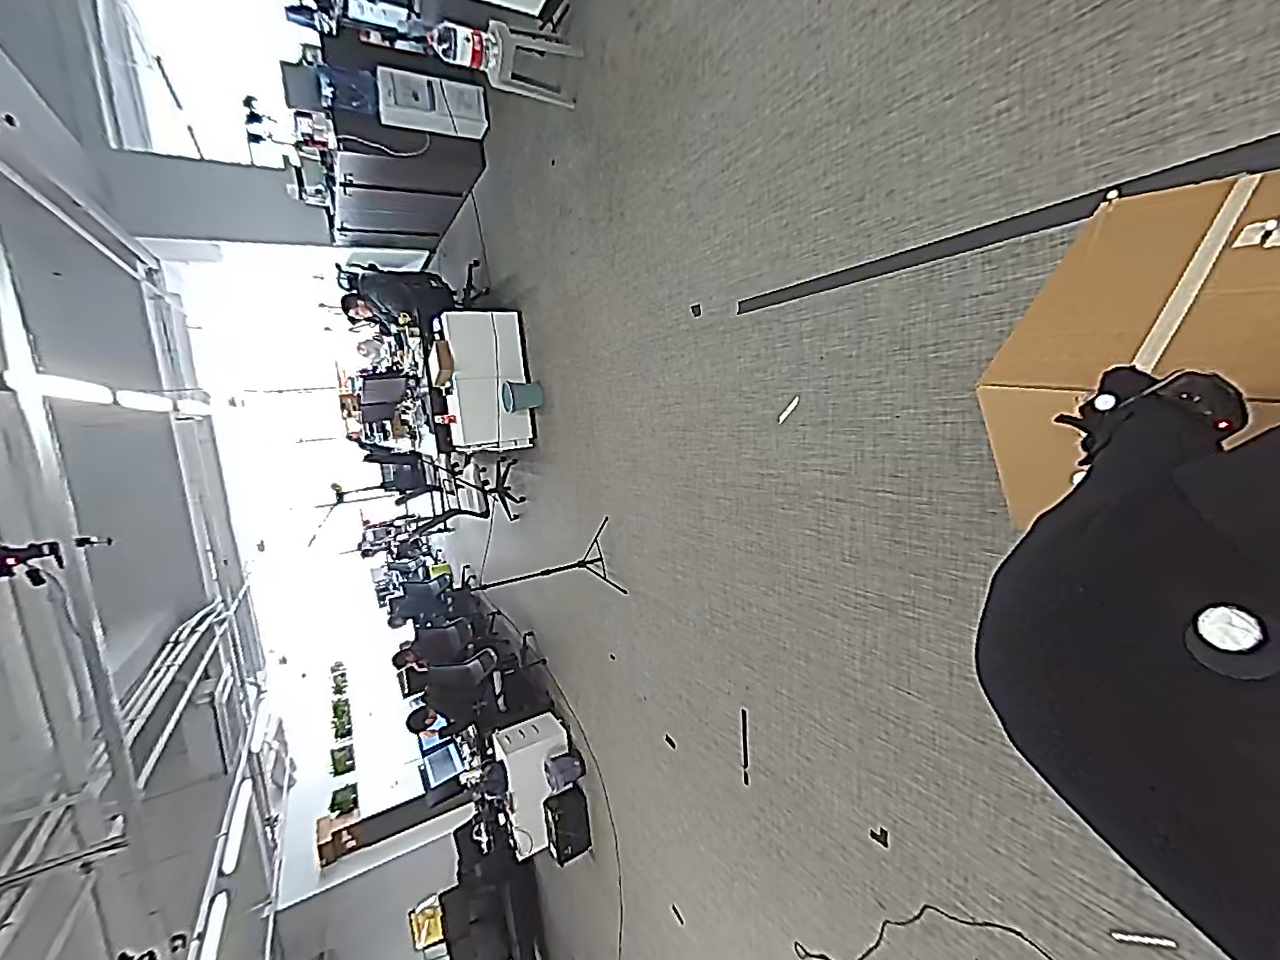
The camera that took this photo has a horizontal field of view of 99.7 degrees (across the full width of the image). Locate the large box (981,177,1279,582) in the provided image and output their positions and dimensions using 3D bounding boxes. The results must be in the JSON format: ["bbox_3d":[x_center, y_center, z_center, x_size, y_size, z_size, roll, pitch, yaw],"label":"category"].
[{"bbox_3d":[0.742,-0.138,0.730,0.320,0.408,0.320,21,155,54],"label":"large box"}]
